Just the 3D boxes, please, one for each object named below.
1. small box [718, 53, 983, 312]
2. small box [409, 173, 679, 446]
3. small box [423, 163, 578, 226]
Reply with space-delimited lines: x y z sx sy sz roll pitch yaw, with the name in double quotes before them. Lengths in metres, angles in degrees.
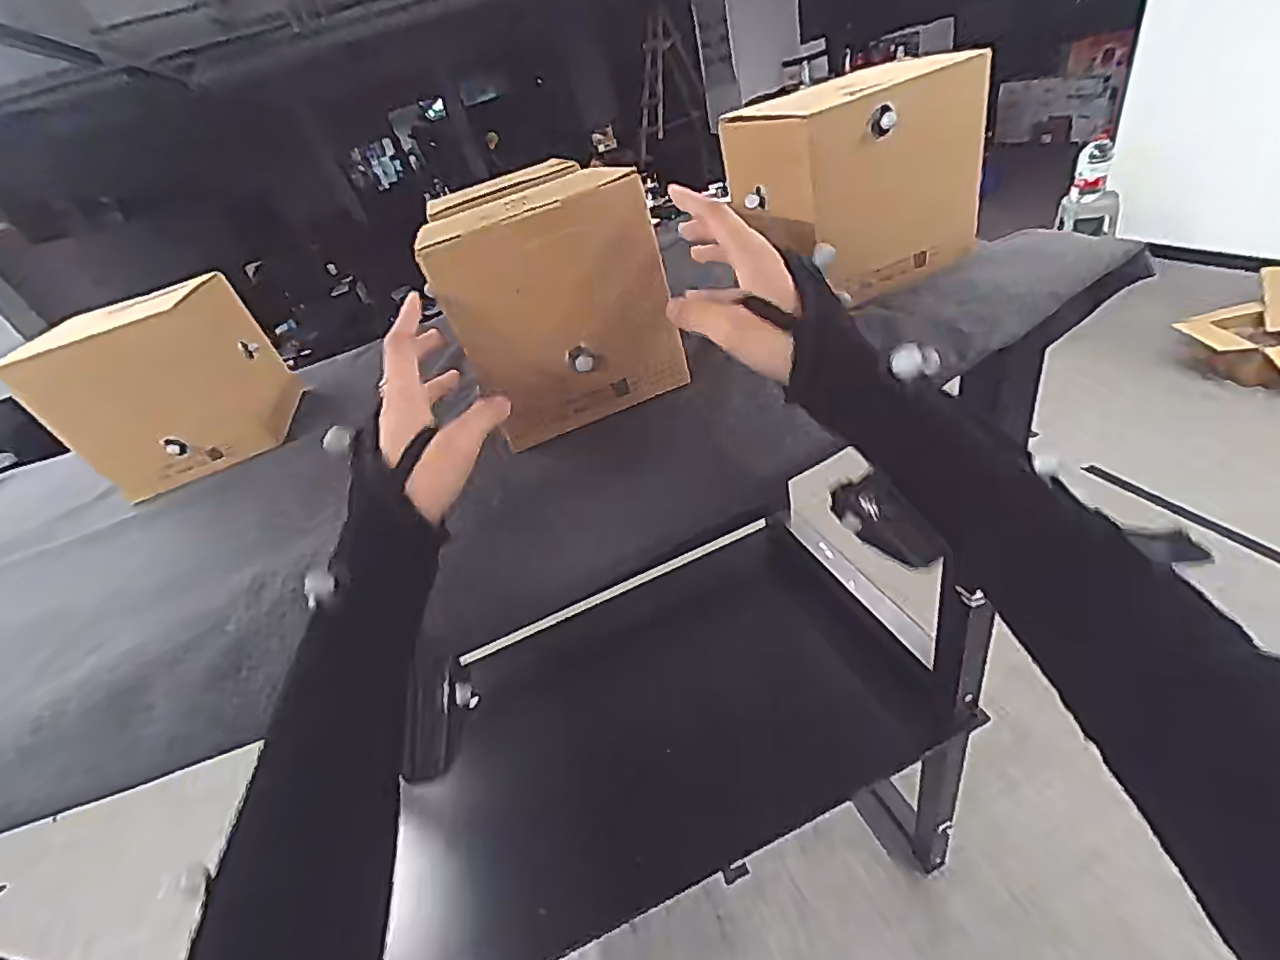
"small box" 0.194 -0.283 0.533 0.168 0.176 0.179 -22 35 -4
"small box" -0.082 -0.156 0.483 0.168 0.176 0.179 -23 34 -6
"small box" -0.152 -0.282 0.688 0.179 0.176 0.168 -22 35 -6
